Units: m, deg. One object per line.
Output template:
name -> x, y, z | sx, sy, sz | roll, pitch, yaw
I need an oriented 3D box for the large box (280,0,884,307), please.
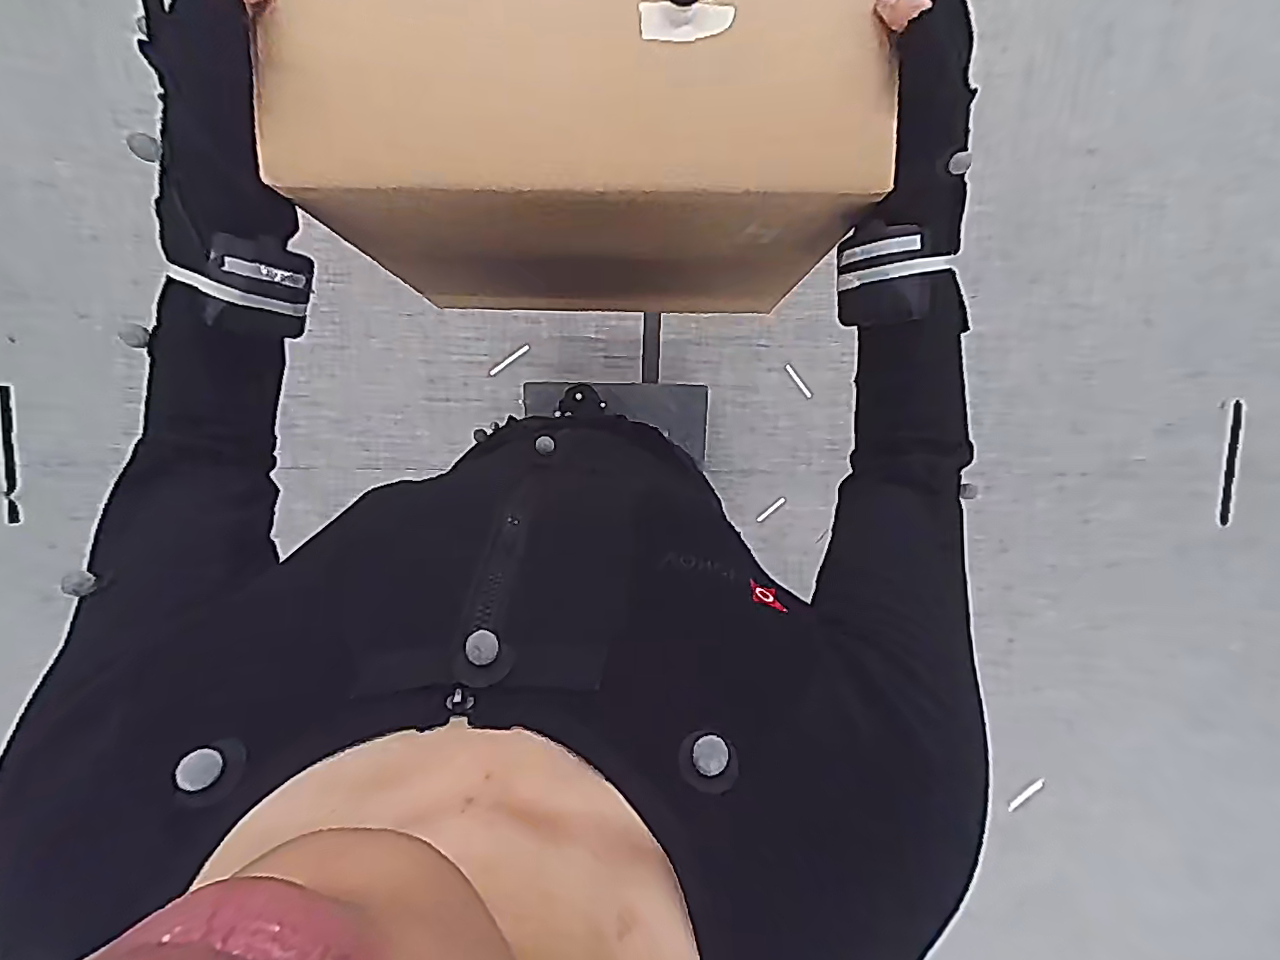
large box -> -0.039, -0.359, 0.502 | 0.408, 0.320, 0.320 | 0, 94, -1
